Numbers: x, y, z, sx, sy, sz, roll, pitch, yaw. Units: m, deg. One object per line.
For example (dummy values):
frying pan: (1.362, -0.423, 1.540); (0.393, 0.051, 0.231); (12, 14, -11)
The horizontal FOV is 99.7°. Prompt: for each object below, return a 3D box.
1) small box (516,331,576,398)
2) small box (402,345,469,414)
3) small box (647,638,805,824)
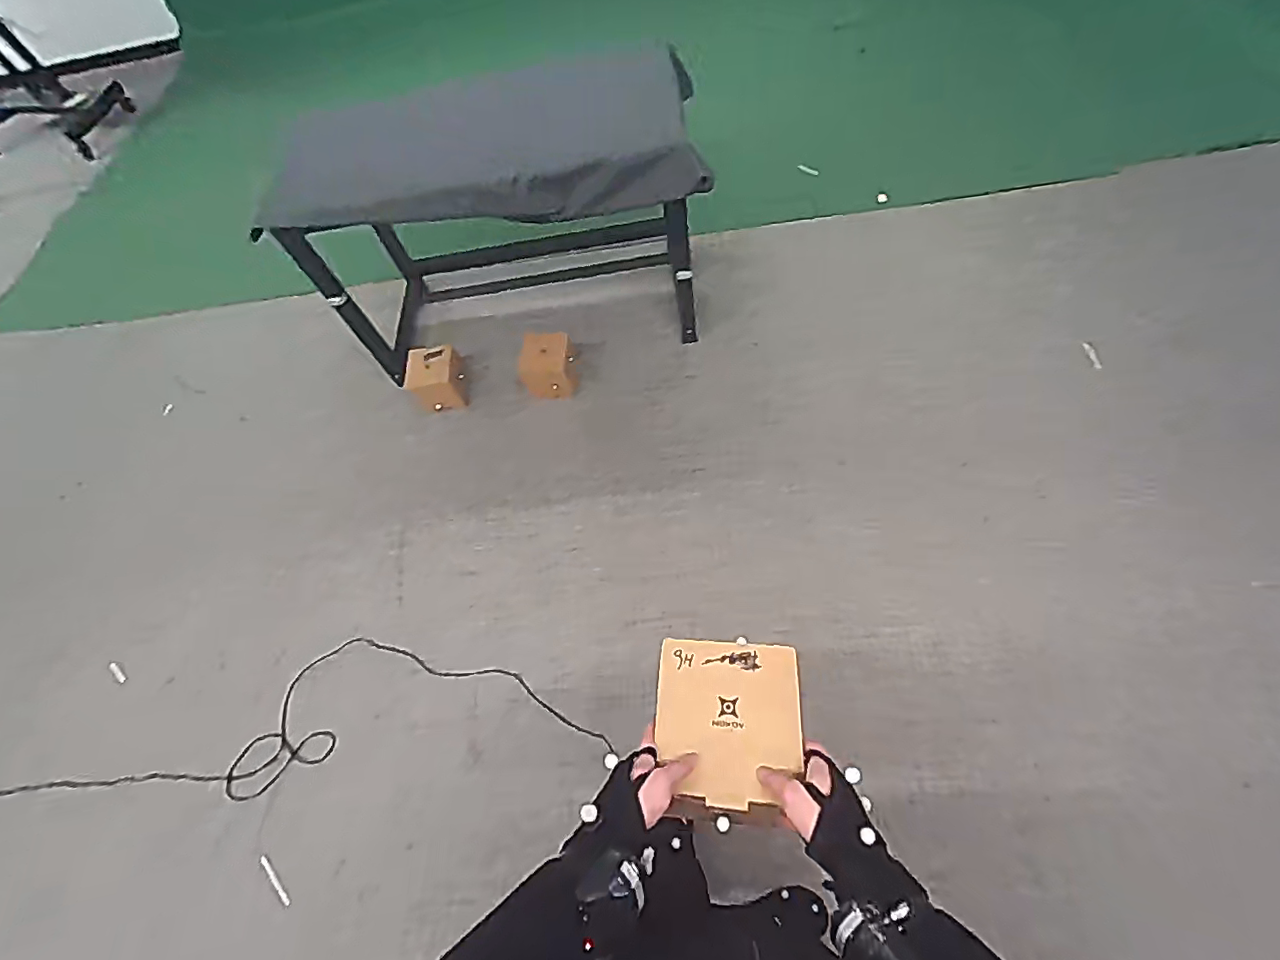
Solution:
small box: (-0.331, -0.407, 1.943); (0.168, 0.176, 0.179); (-2, 60, 7)
small box: (-0.741, -0.365, 1.982); (0.168, 0.176, 0.179); (-8, 61, 5)
small box: (0.104, 0.314, 0.671); (0.168, 0.176, 0.179); (1, 53, 7)
